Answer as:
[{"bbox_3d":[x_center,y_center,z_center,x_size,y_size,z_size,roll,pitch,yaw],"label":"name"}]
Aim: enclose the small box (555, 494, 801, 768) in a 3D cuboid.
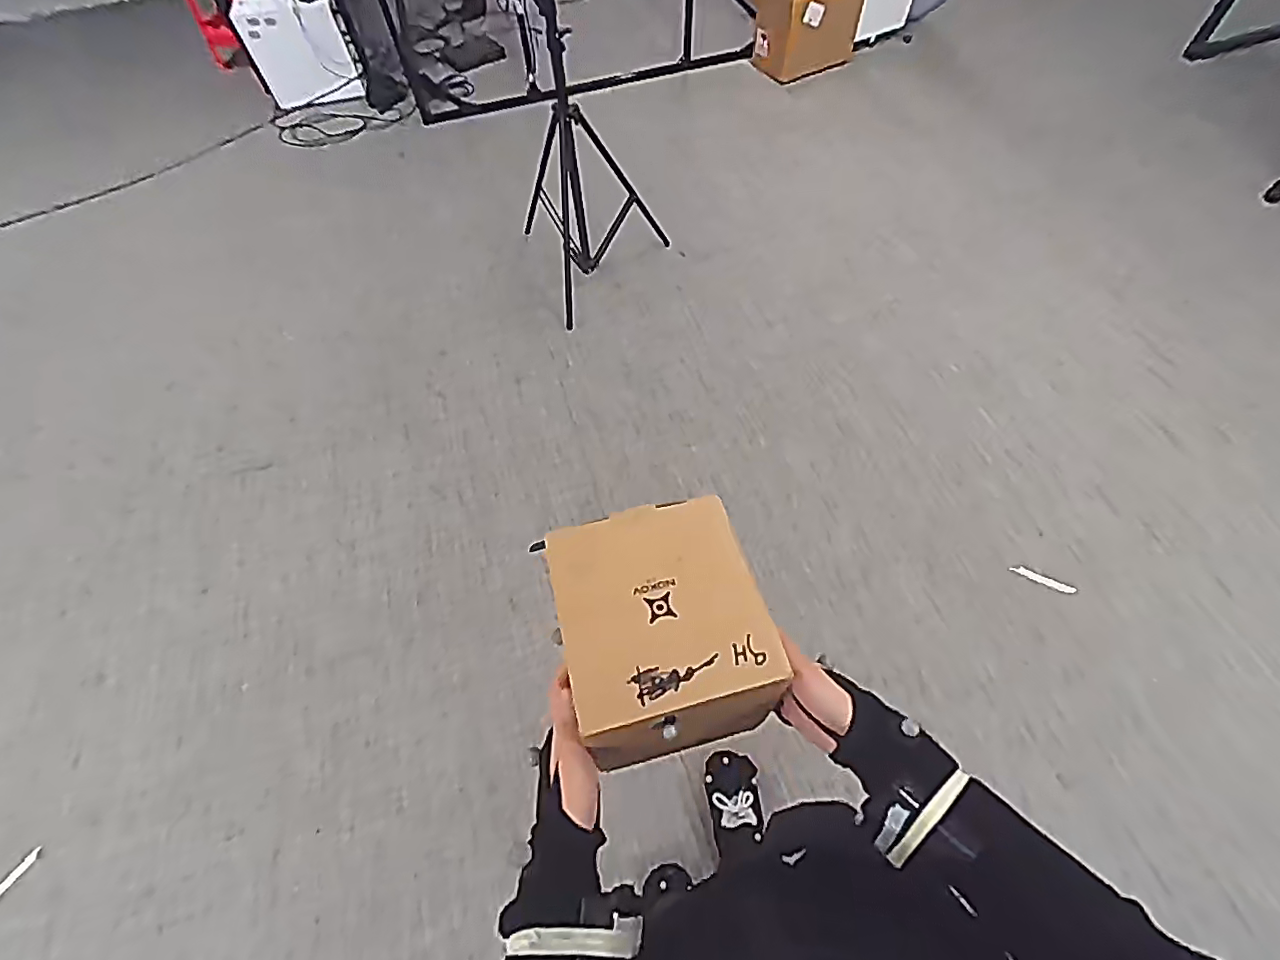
[{"bbox_3d":[0.022,0.142,0.505,0.168,0.176,0.179,-12,54,-8],"label":"small box"}]
